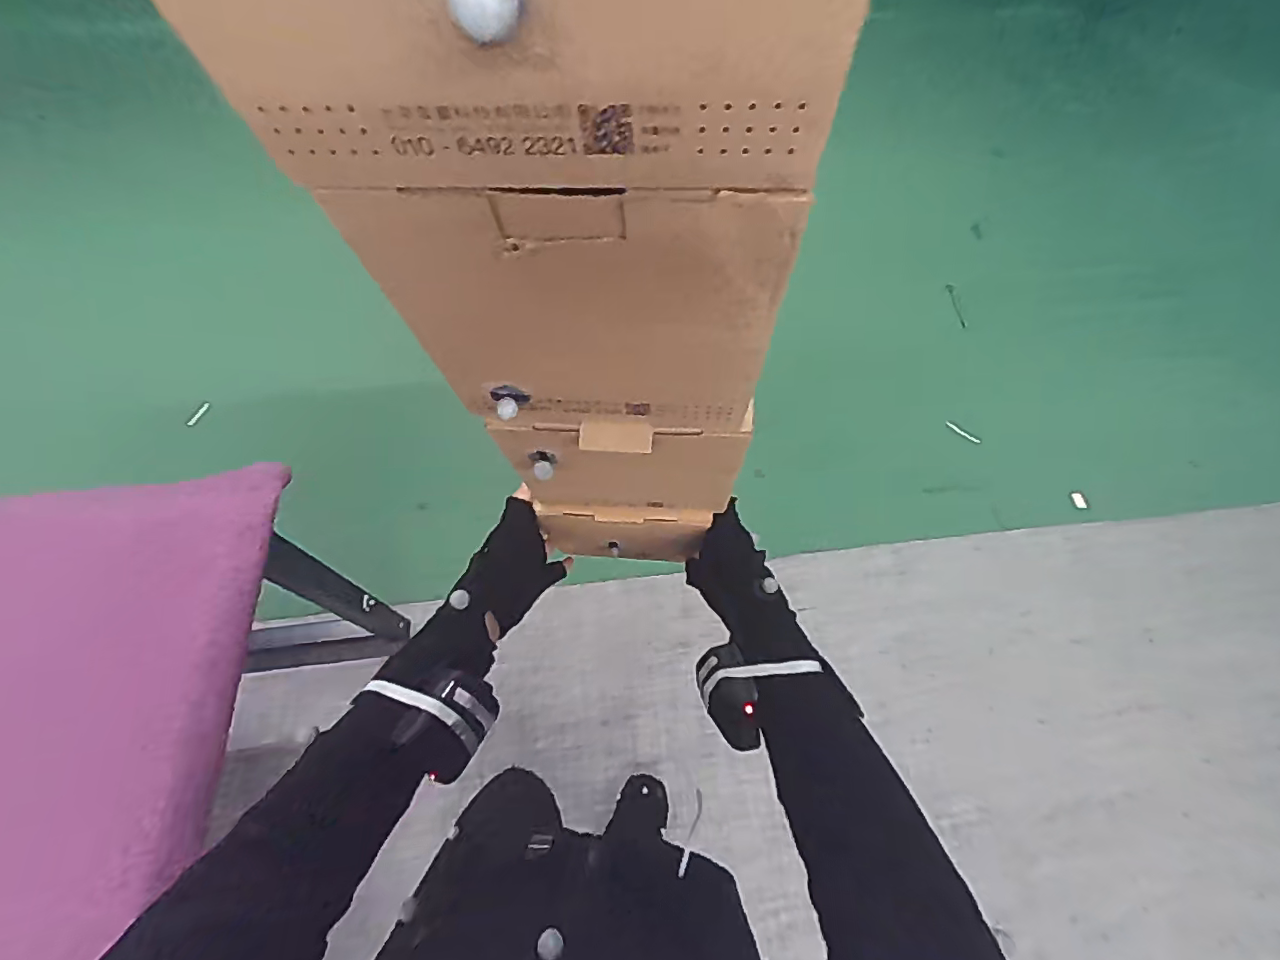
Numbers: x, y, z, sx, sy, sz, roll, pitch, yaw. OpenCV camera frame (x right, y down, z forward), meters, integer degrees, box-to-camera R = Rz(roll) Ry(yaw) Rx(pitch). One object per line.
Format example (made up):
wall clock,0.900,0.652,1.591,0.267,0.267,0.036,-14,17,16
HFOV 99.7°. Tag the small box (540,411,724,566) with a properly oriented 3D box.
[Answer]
small box,-0.001,-0.014,0.588,0.168,0.176,0.179,4,71,4

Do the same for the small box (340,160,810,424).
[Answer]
small box,-0.014,-0.142,0.285,0.168,0.176,0.179,3,69,3
